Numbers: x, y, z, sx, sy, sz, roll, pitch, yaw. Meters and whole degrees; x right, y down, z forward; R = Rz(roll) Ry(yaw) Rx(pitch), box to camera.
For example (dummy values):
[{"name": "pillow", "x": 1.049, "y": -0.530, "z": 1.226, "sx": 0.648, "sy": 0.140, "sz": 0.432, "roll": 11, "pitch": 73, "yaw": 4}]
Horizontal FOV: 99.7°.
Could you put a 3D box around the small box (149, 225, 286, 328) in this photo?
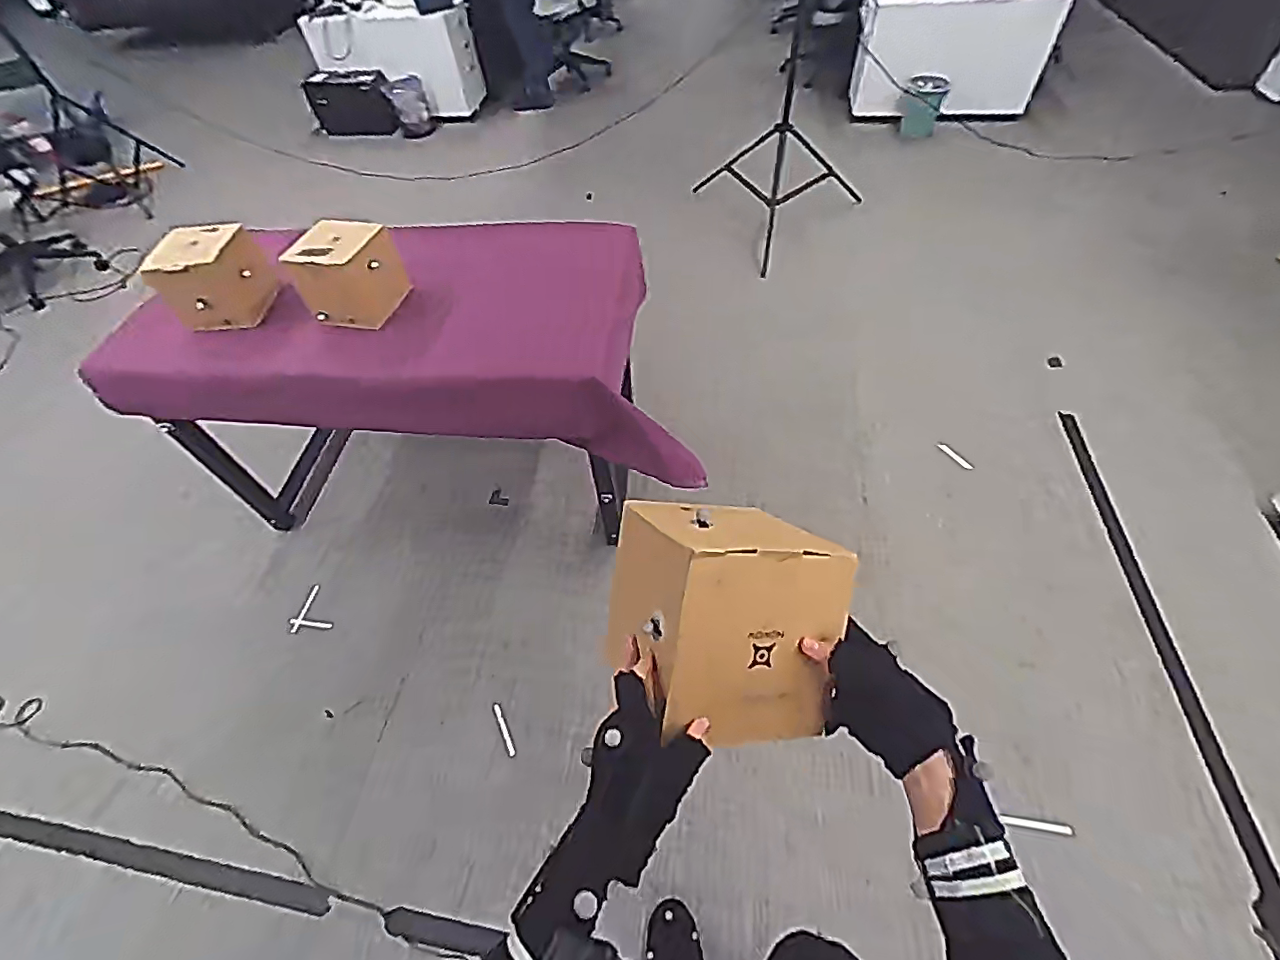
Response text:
[{"name": "small box", "x": -0.992, "y": -0.480, "z": 1.293, "sx": 0.168, "sy": 0.176, "sz": 0.179, "roll": -4, "pitch": 53, "yaw": 0}]

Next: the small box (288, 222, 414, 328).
[{"name": "small box", "x": -0.663, "y": -0.479, "z": 1.270, "sx": 0.168, "sy": 0.176, "sz": 0.179, "roll": 9, "pitch": 53, "yaw": 10}]

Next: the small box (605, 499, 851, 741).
[{"name": "small box", "x": 0.071, "y": 0.120, "z": 0.530, "sx": 0.168, "sy": 0.179, "sz": 0.176, "roll": 4, "pitch": 10, "yaw": -20}]
